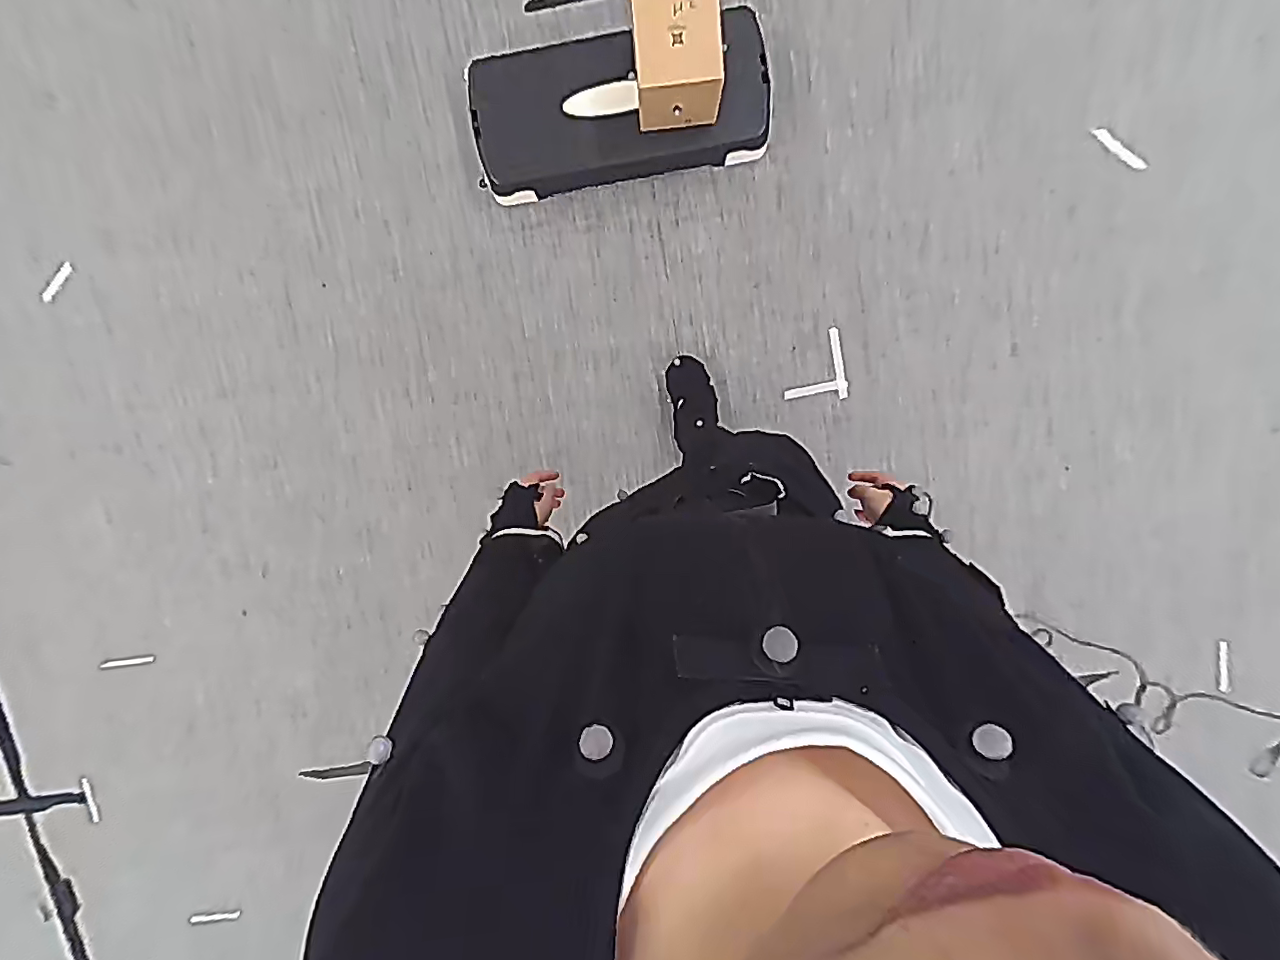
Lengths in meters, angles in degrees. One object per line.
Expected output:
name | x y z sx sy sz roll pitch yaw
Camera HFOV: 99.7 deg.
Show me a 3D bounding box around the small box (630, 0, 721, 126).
small box | 0.072 -0.848 1.096 0.168 0.176 0.179 -5 97 2
